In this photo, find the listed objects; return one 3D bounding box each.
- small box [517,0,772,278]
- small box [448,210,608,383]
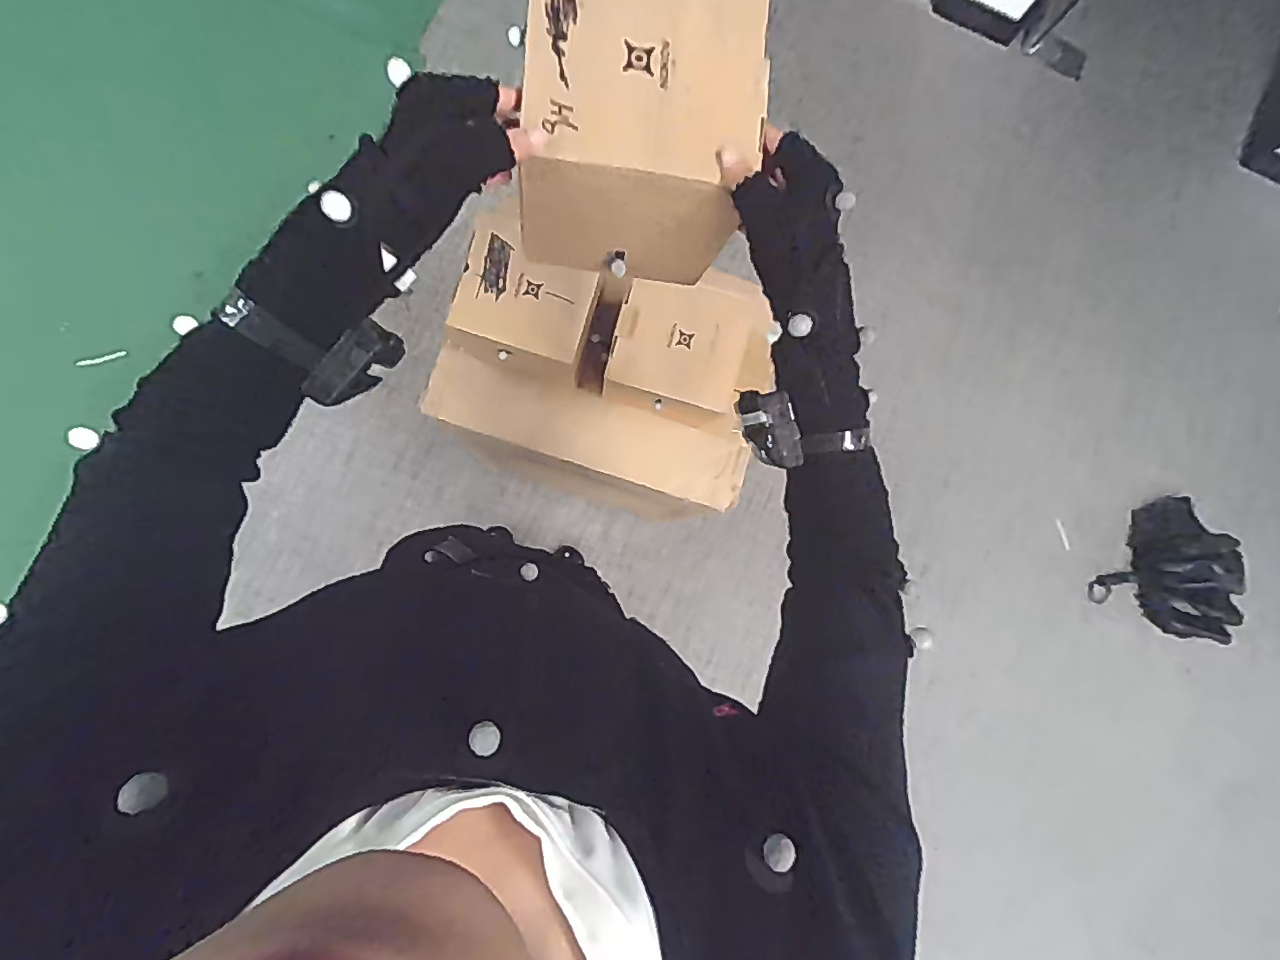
[{"bbox_3d":[-0.009,-0.291,0.458,0.179,0.176,0.168,4,85,-12],"label":"small box"},{"bbox_3d":[-0.154,-0.255,0.797,0.179,0.176,0.168,17,88,-5],"label":"small box"}]
